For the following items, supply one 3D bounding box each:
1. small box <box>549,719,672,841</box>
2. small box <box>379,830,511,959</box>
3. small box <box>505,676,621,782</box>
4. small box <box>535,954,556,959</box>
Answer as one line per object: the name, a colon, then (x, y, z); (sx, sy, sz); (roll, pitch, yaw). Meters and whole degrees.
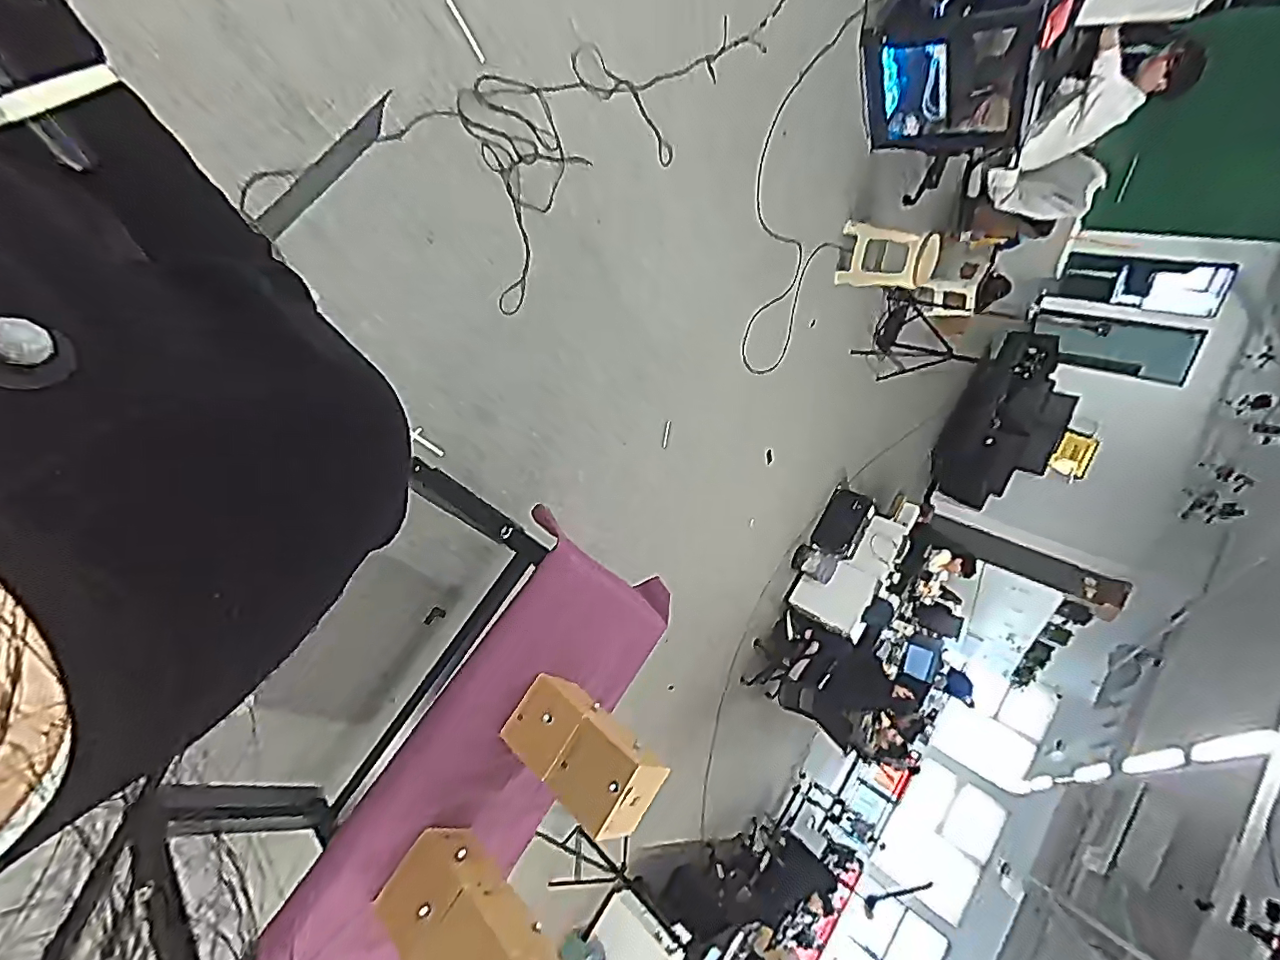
small box: (-0.063, 0.652, 1.191); (0.168, 0.176, 0.179); (-57, 144, -10)
small box: (-0.424, 0.896, 1.173); (0.179, 0.176, 0.168); (-53, 141, -13)
small box: (-0.185, 0.590, 1.283); (0.168, 0.176, 0.179); (-56, 143, -11)
small box: (-0.193, 1.017, 0.971); (0.179, 0.176, 0.168); (-55, 142, -13)
